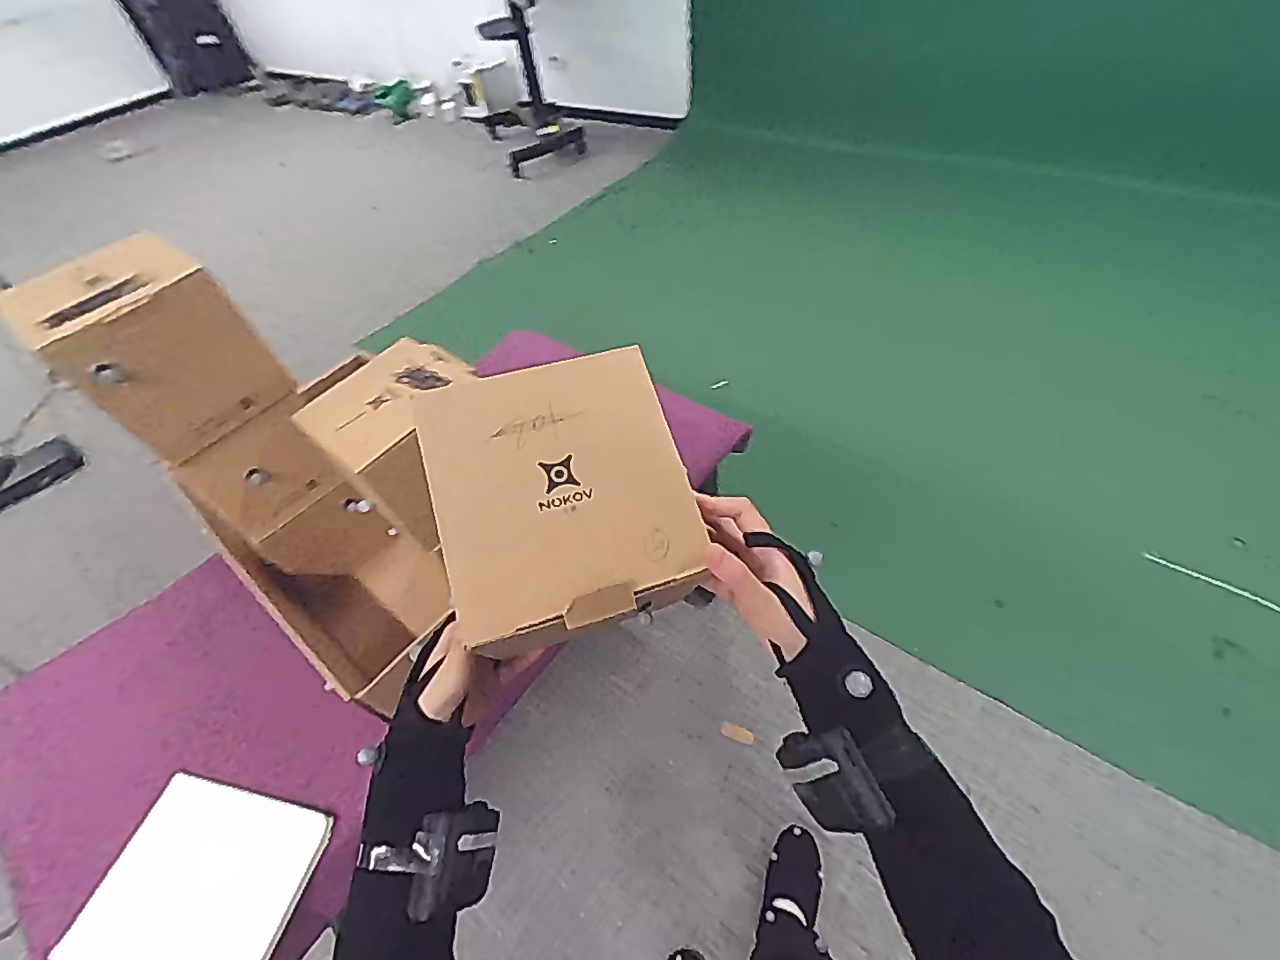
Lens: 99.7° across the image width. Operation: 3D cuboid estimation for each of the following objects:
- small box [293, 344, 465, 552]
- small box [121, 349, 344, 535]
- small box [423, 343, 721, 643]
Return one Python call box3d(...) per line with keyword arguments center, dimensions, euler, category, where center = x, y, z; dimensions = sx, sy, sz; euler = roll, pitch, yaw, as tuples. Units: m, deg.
box3d(center=(-0.294, -0.042, 0.708), dimensions=(0.168, 0.176, 0.179), euler=(29, 62, 30), category="small box")
box3d(center=(-0.552, -0.047, 0.761), dimensions=(0.179, 0.176, 0.168), euler=(31, 60, 28), category="small box")
box3d(center=(-0.055, 0.023, 0.430), dimensions=(0.168, 0.176, 0.179), euler=(-14, 71, -12), category="small box")
